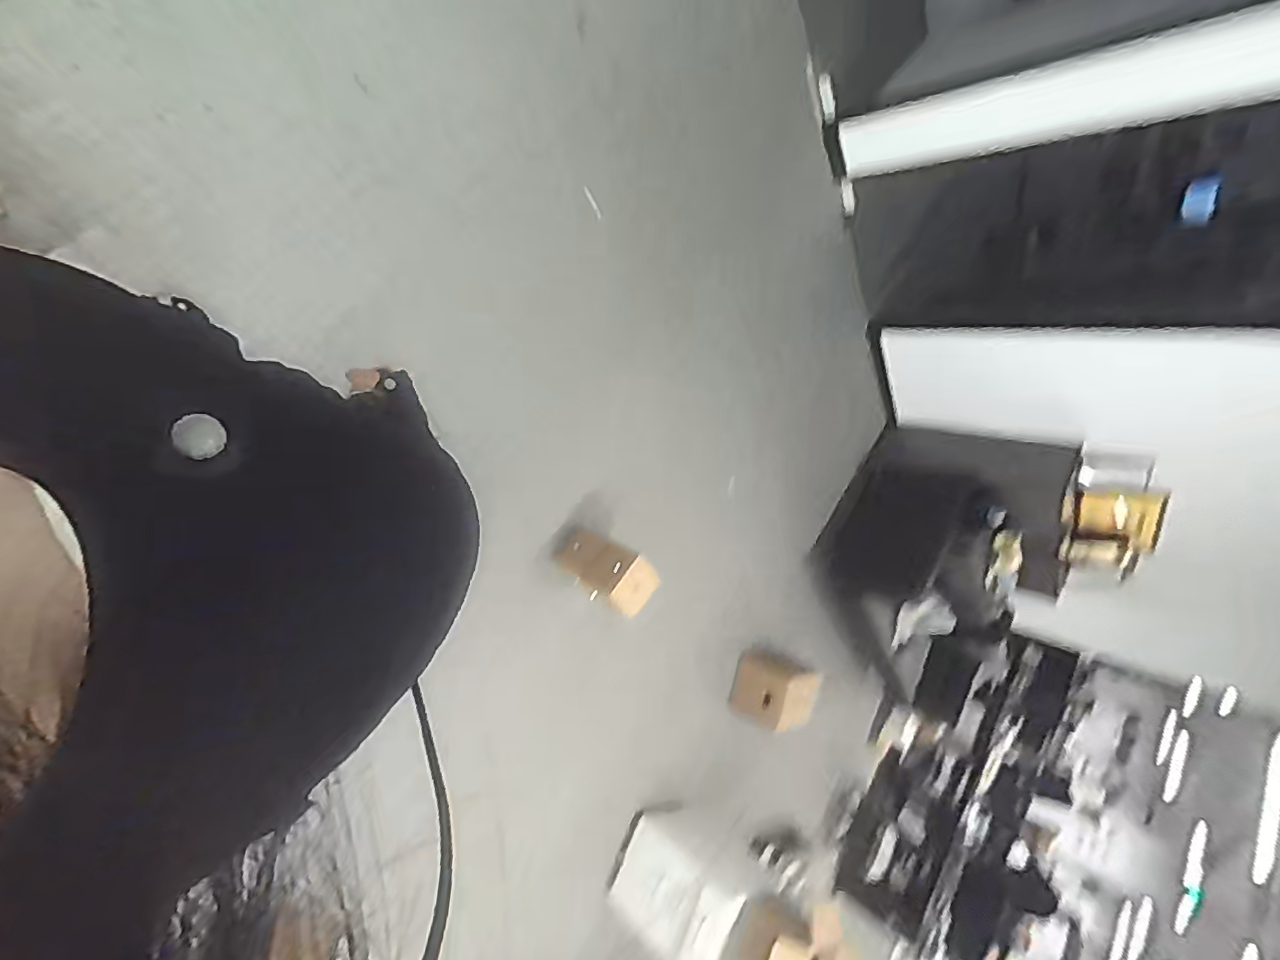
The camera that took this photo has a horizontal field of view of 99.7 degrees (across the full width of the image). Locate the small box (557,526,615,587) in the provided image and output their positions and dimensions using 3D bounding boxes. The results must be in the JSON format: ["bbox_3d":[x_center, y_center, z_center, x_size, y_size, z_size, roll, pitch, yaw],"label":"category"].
[{"bbox_3d":[-0.172,0.286,1.971,0.168,0.176,0.179,-53,132,-21],"label":"small box"}]

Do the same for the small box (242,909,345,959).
[{"bbox_3d":[-0.952,1.310,1.468,0.168,0.176,0.179,45,70,-42],"label":"small box"}]

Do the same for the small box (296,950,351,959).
[{"bbox_3d":[-0.827,1.350,1.369,0.179,0.176,0.168,-57,134,-18],"label":"small box"}]

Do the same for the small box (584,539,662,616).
[{"bbox_3d":[-0.061,0.329,1.860,0.179,0.176,0.168,-52,131,-21],"label":"small box"}]
